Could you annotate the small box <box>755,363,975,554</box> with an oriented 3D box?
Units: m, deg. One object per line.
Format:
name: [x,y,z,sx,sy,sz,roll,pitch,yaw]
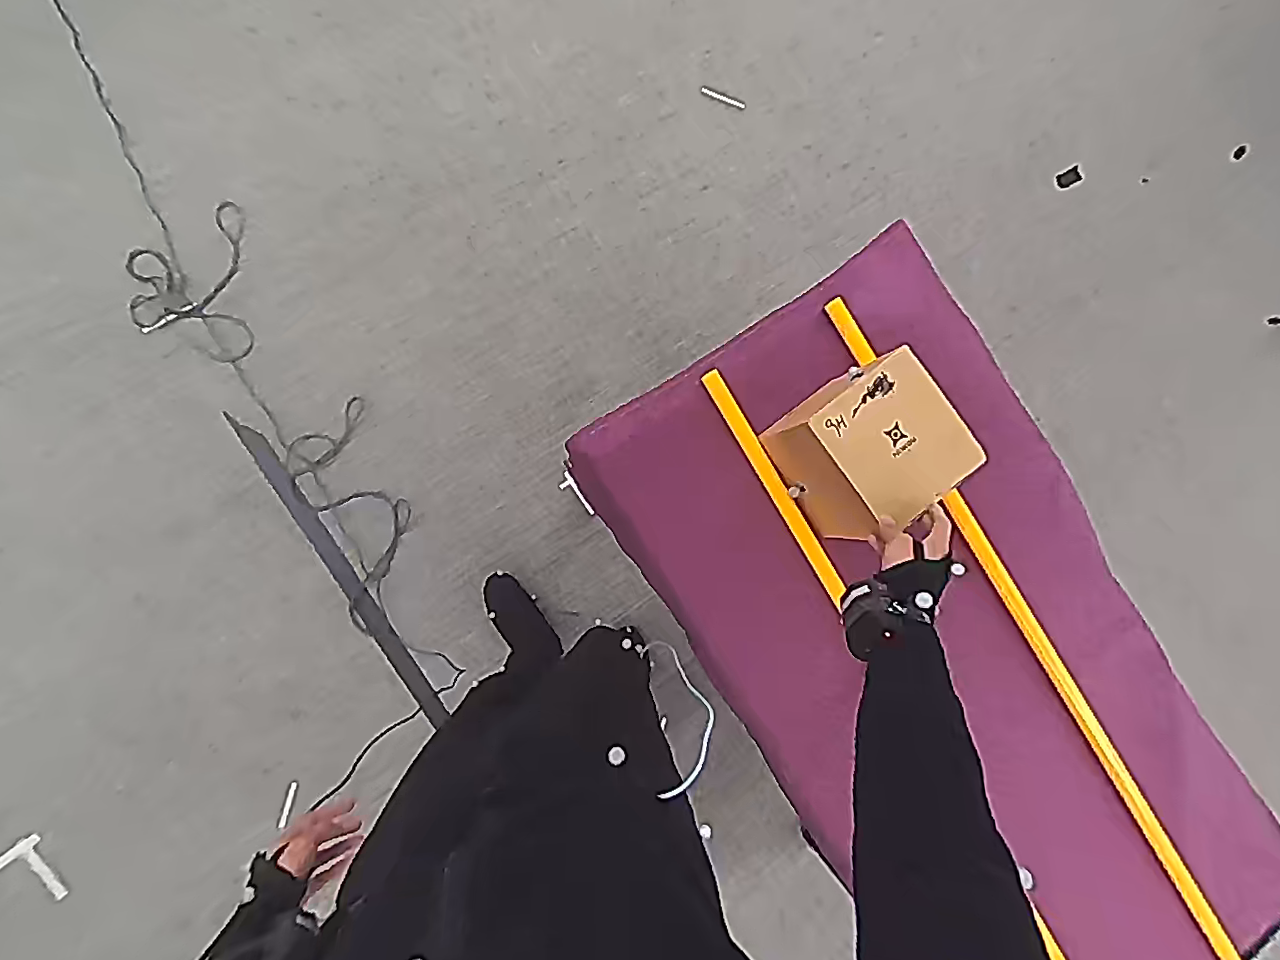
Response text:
small box: [0.287,-0.025,0.724,0.168,0.176,0.179,-36,93,-9]
